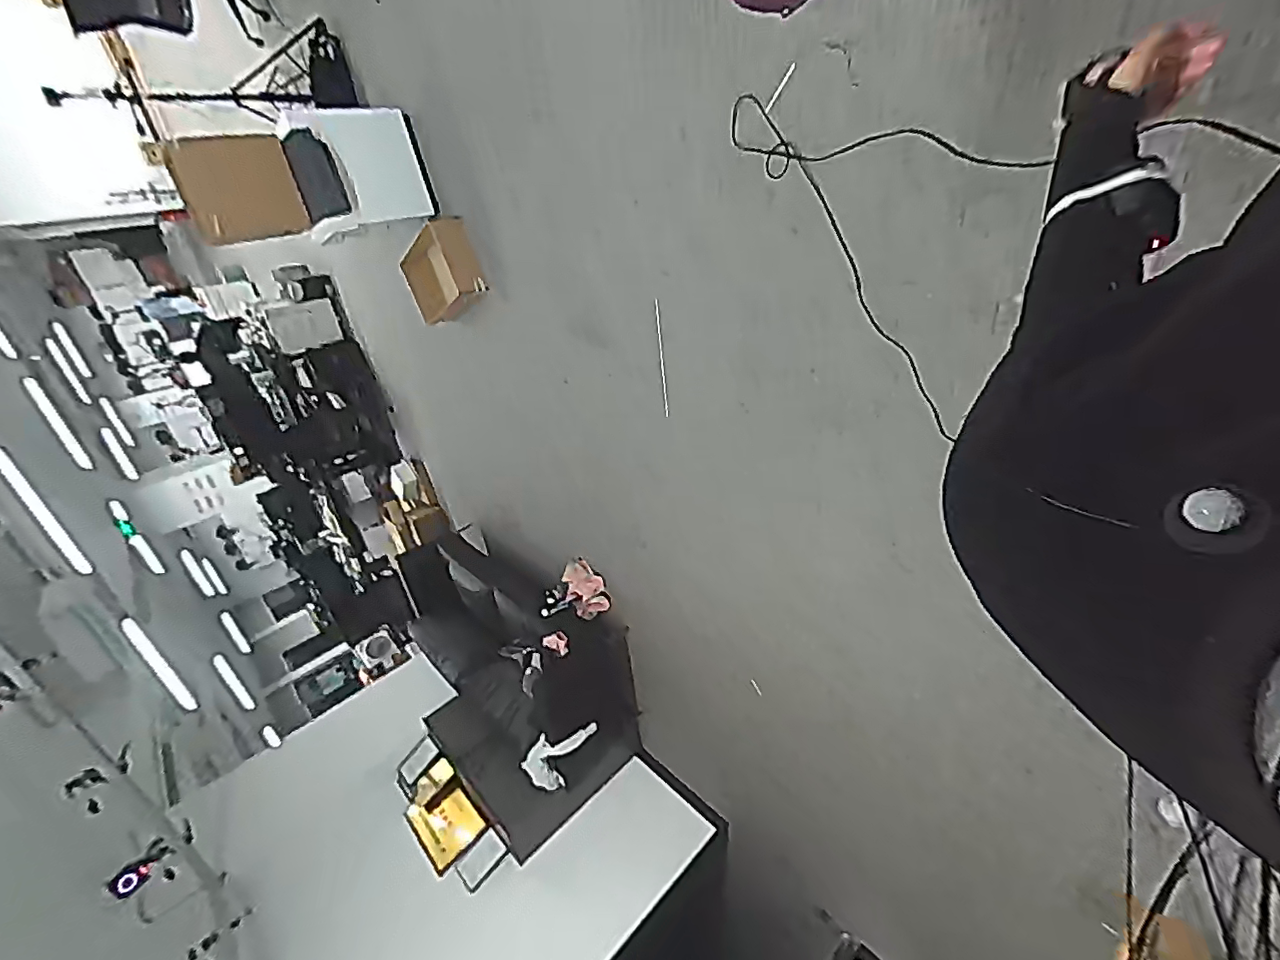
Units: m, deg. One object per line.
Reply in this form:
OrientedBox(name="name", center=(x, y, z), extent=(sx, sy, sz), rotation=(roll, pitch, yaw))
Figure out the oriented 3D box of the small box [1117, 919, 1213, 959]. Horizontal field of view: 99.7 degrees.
OrientedBox(name="small box", center=(1.493, 1.413, 1.547), extent=(0.179, 0.176, 0.168), rotation=(18, 126, 44))
